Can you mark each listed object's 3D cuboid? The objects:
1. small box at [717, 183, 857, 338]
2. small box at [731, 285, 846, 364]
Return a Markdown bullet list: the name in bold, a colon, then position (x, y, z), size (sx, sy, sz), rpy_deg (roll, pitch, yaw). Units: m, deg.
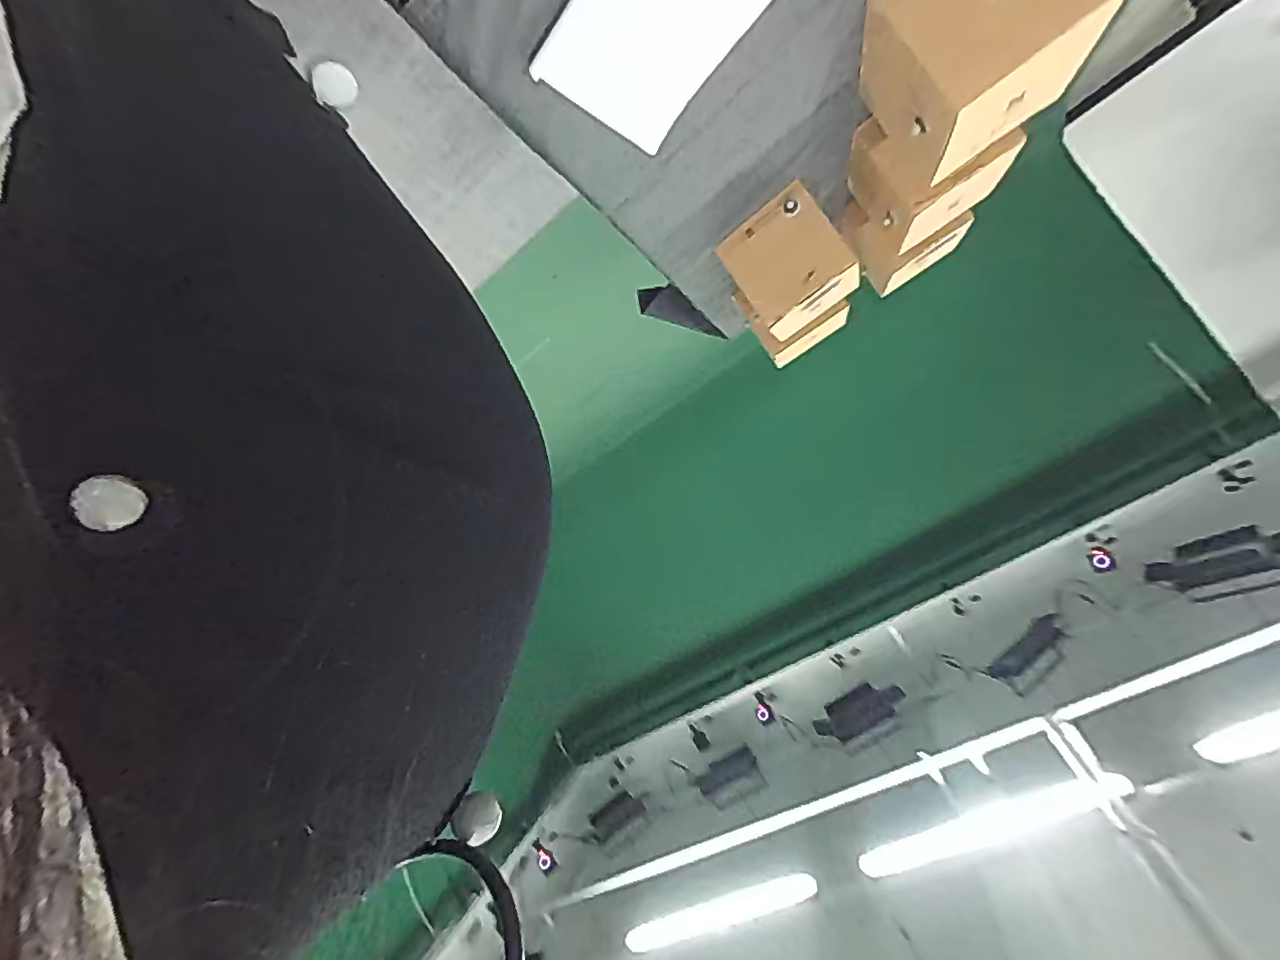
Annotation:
- **small box**: position (0.256, -0.377, 0.943), size (0.168, 0.176, 0.179), rpy_deg (-35, 173, 21)
- **small box**: position (0.325, -0.386, 1.196), size (0.179, 0.176, 0.168), rpy_deg (-35, 172, 15)
